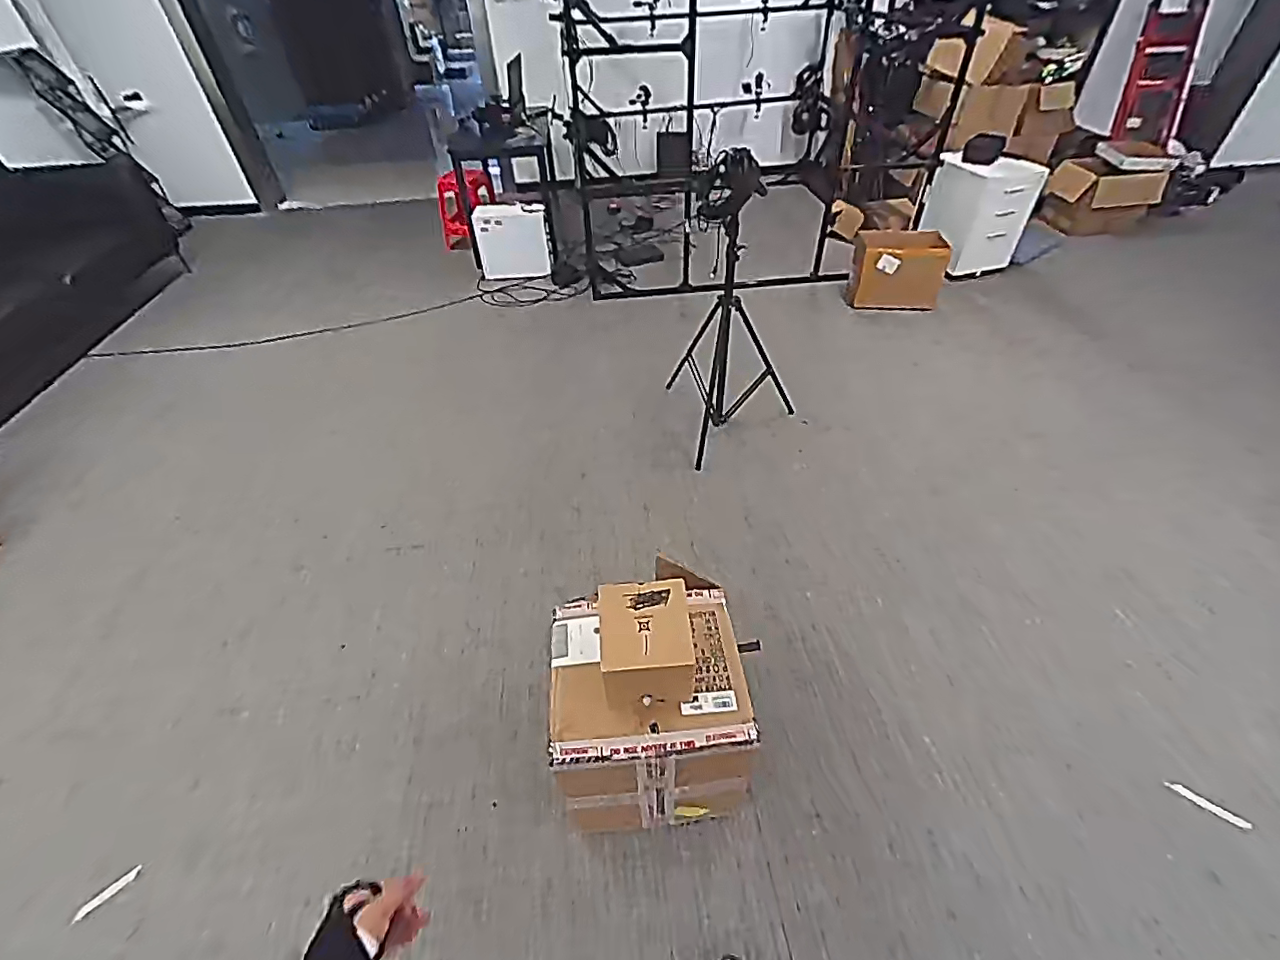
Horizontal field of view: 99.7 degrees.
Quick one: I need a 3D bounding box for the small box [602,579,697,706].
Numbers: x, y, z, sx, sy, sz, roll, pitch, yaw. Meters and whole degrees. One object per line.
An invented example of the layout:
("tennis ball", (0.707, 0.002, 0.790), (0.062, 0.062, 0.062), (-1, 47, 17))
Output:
("small box", (0.013, 0.312, 1.040), (0.168, 0.176, 0.179), (-4, 47, -1))
